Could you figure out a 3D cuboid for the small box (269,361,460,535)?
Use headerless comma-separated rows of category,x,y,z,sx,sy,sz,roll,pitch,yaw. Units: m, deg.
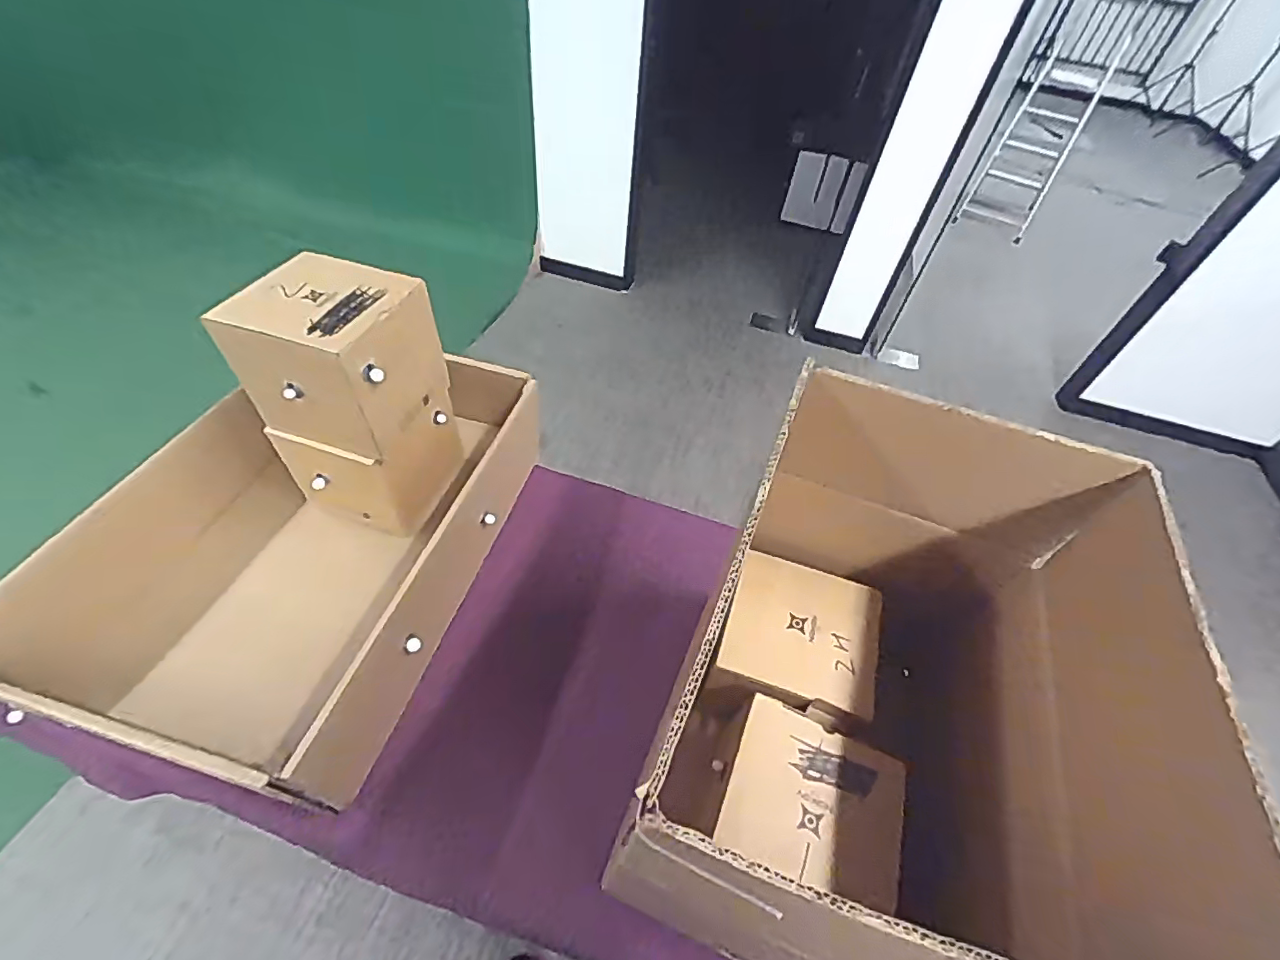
small box,-0.393,-0.045,0.813,0.168,0.176,0.179,16,50,9
